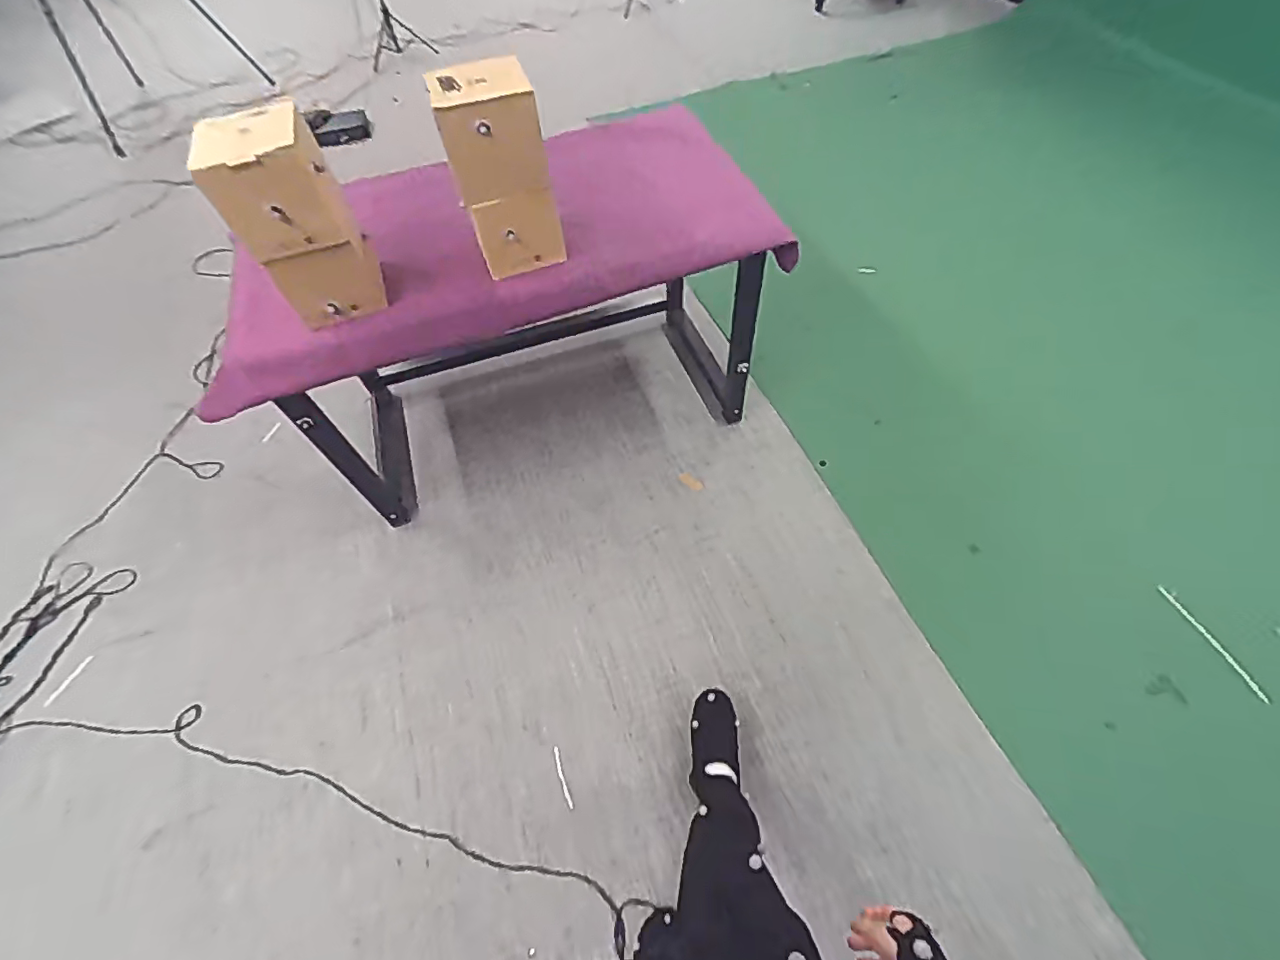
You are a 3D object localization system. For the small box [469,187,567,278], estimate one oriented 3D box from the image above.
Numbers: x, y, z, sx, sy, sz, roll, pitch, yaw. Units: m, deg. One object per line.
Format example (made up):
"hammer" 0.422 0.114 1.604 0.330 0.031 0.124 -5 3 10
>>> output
"small box" -0.267 -0.555 1.156 0.168 0.176 0.179 -19 56 -9

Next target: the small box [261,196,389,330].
"small box" -0.634 -0.439 1.101 0.168 0.176 0.179 -19 58 -9

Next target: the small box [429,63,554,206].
"small box" -0.276 -0.645 1.018 0.179 0.176 0.168 -16 56 -7

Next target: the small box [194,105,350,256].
"small box" -0.638 -0.520 0.958 0.168 0.176 0.179 -18 58 -8
